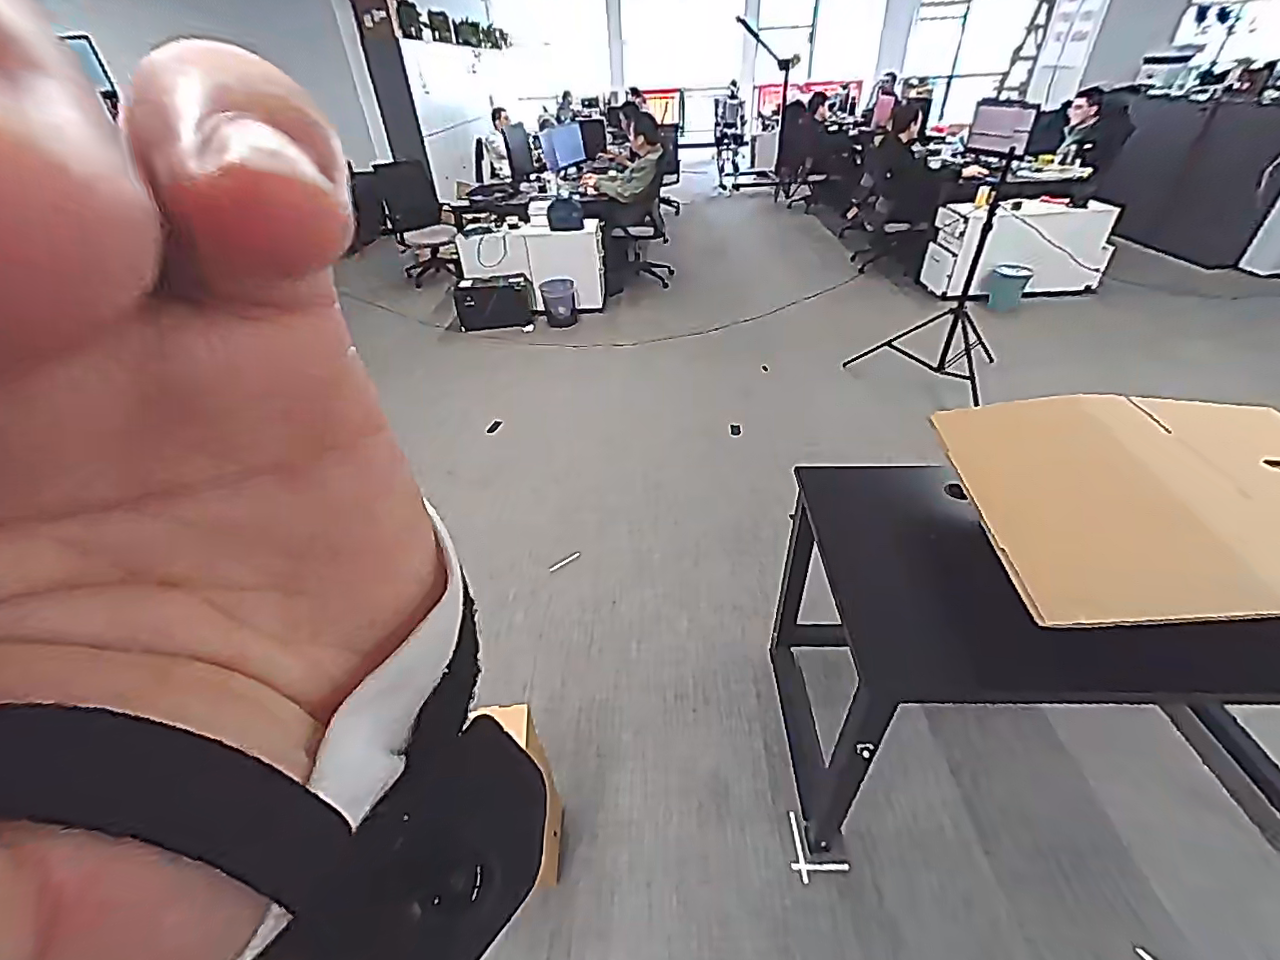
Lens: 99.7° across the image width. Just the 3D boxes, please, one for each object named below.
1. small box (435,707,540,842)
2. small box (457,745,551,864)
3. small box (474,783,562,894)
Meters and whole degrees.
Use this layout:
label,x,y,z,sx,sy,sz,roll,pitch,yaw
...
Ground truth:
label,x,y,z,sx,sy,sz,roll,pitch,yaw
small box,-0.297,0.594,1.095,0.168,0.176,0.179,-7,37,-5
small box,-0.291,0.722,1.198,0.168,0.176,0.179,-5,36,-3
small box,-0.282,0.855,1.290,0.168,0.176,0.179,-4,38,0
